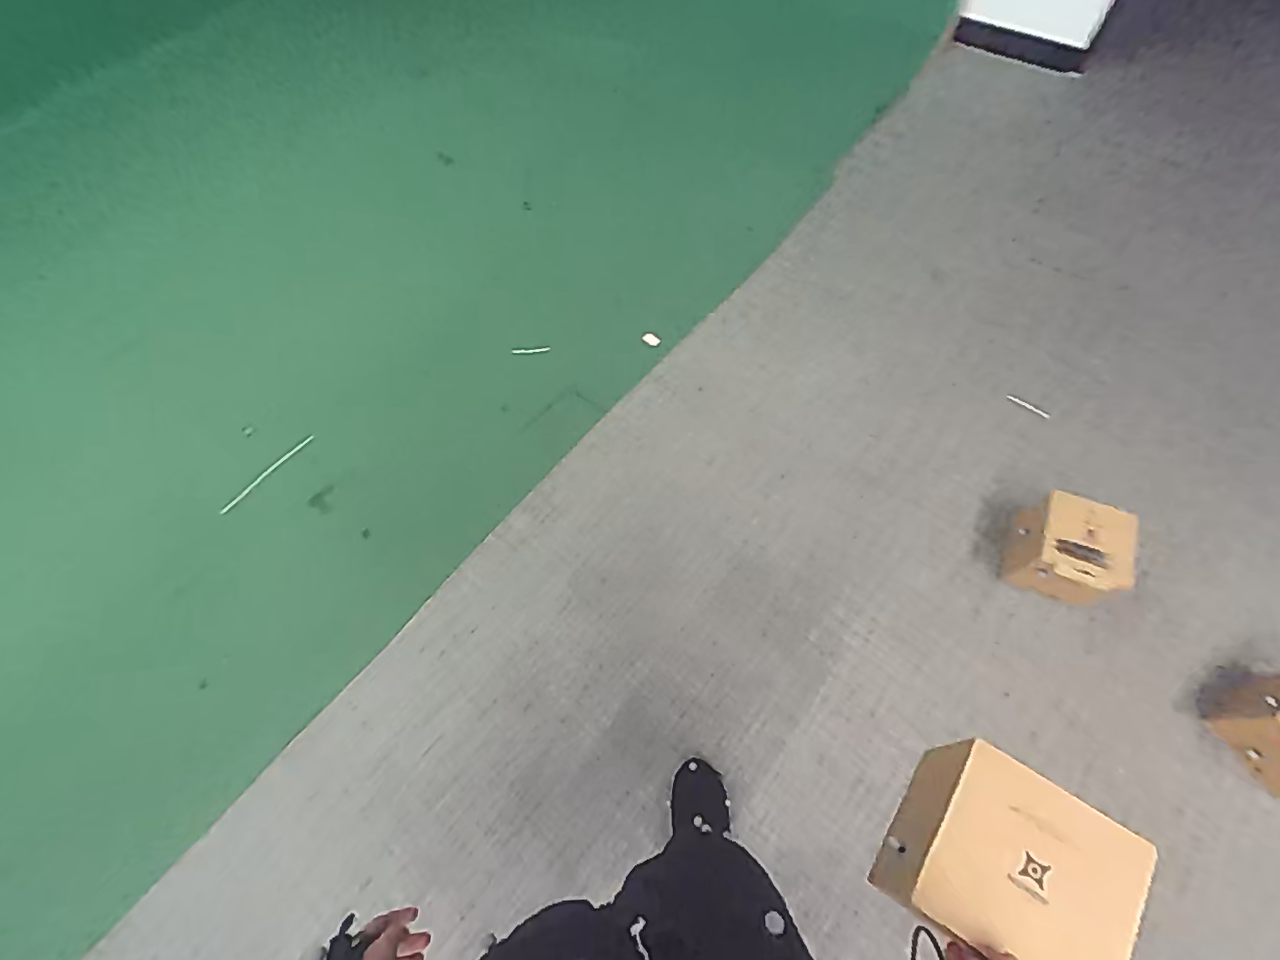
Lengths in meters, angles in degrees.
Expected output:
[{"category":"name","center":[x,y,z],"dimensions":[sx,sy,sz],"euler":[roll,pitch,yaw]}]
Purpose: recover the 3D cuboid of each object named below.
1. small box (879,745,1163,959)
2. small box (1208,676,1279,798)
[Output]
[{"category":"small box","center":[0.372,0.413,0.562],"dimensions":[0.168,0.176,0.179],"euler":[30,66,22]},{"category":"small box","center":[1.241,0.475,1.002],"dimensions":[0.179,0.176,0.168],"euler":[-30,66,-9]}]
